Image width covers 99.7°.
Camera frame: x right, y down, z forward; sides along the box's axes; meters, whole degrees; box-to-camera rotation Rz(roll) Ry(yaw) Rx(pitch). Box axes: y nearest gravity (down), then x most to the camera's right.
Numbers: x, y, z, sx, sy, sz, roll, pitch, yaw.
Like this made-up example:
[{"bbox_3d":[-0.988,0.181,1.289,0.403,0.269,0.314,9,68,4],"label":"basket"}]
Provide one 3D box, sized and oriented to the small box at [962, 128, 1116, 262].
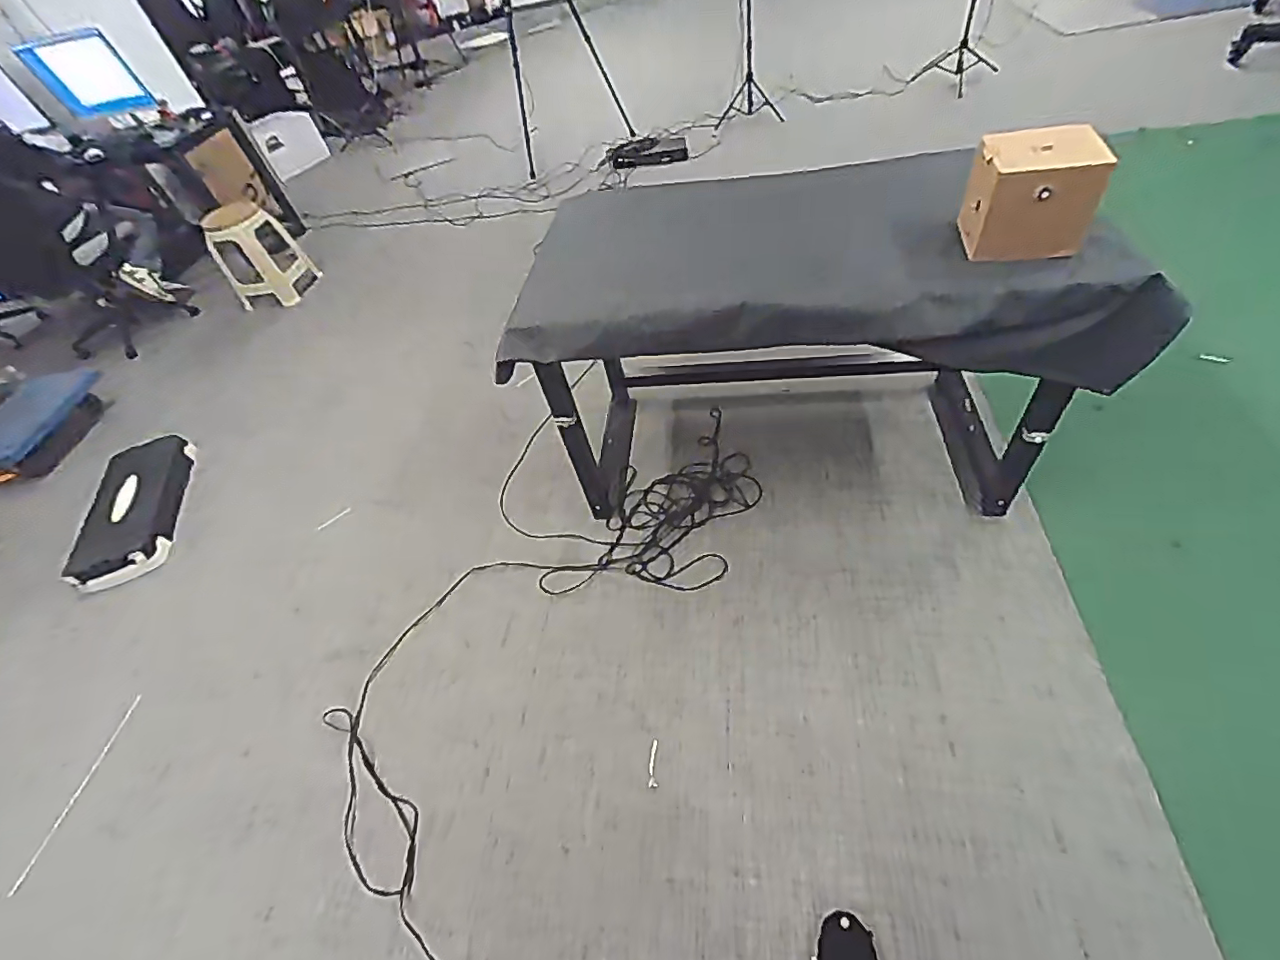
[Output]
[{"bbox_3d":[0.719,-0.522,1.004,0.179,0.176,0.168,3,52,15],"label":"small box"}]
